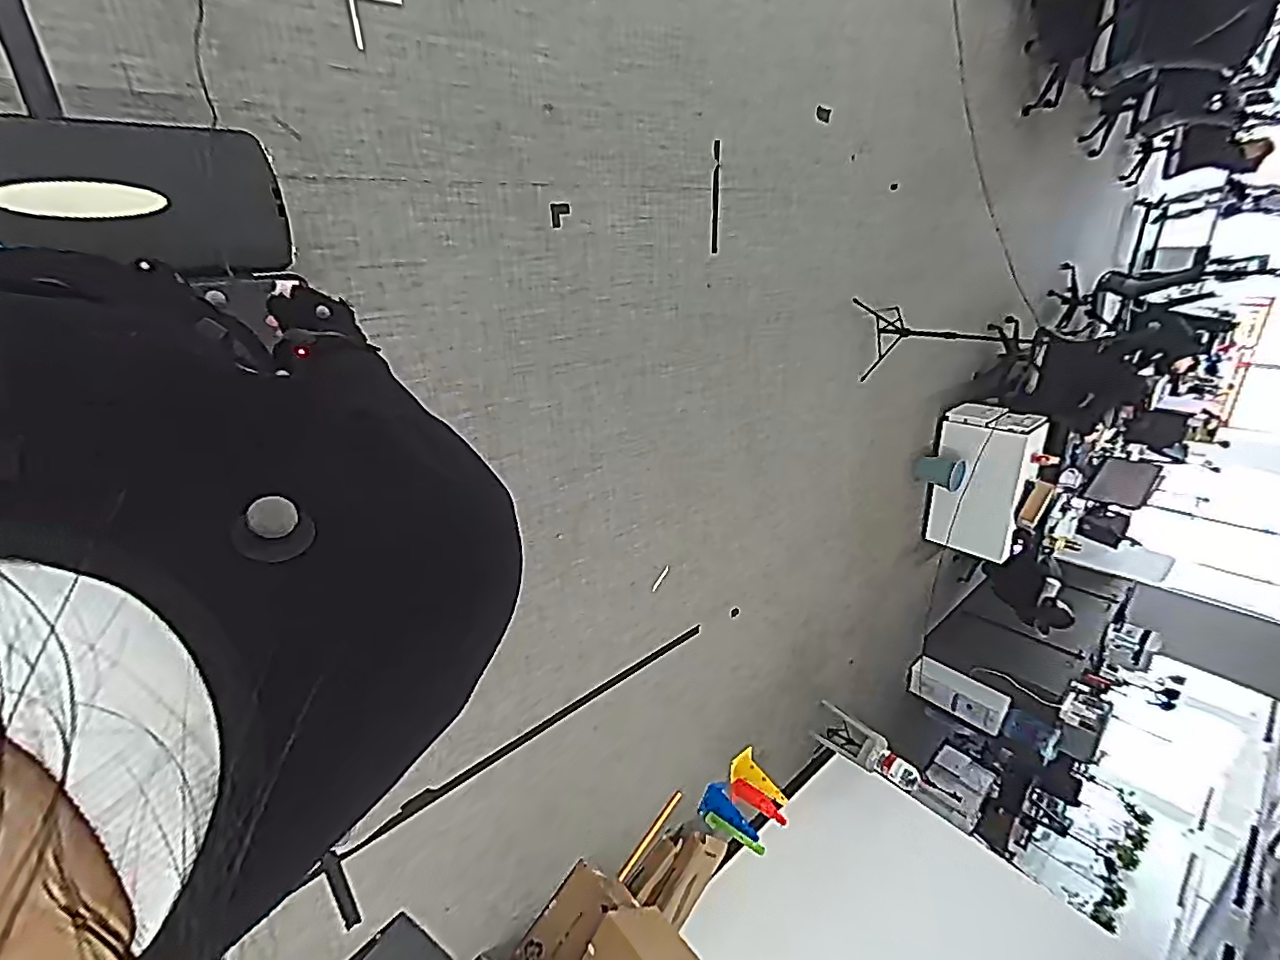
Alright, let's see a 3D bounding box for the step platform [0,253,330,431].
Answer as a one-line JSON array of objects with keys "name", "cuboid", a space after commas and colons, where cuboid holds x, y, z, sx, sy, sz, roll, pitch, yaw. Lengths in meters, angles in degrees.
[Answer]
[{"name": "step platform", "cuboid": [-1.041, -0.301, 1.122, 0.684, 0.204, 0.286, -21, 117, -34]}]
